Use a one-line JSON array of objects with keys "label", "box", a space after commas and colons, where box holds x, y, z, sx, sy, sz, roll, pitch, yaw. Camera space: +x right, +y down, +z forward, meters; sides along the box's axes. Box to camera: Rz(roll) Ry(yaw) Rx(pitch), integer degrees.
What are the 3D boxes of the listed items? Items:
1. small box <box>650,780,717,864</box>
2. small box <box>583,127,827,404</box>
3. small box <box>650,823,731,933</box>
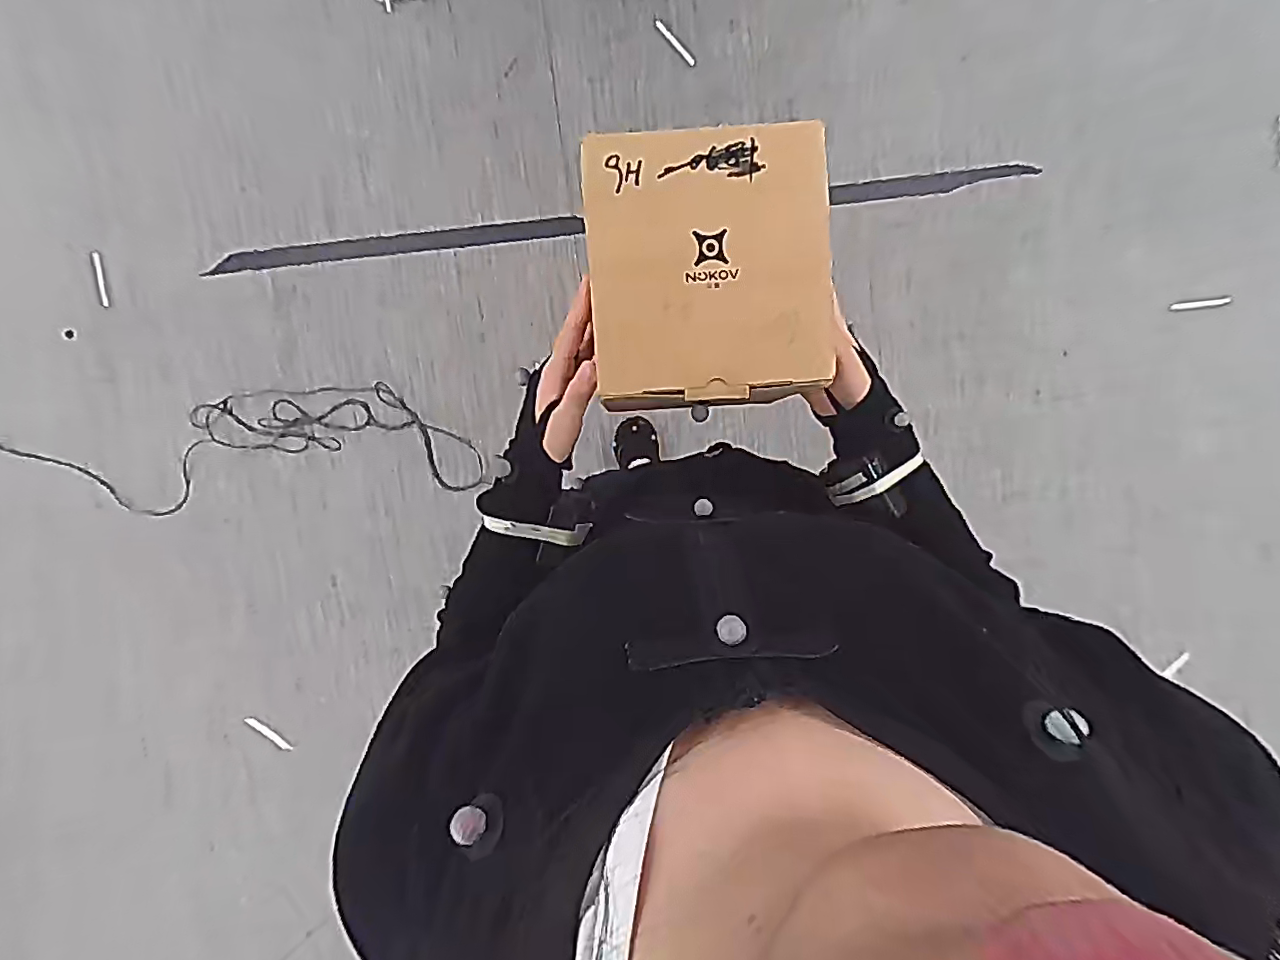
[{"label": "small box", "box": [0.116, 0.970, 1.517, 0.179, 0.176, 0.168, 0, 95, -1]}, {"label": "small box", "box": [0.045, -0.155, 0.450, 0.168, 0.176, 0.179, -4, 94, -2]}, {"label": "small box", "box": [0.120, 0.994, 1.355, 0.179, 0.176, 0.168, 3, 95, -1]}]
